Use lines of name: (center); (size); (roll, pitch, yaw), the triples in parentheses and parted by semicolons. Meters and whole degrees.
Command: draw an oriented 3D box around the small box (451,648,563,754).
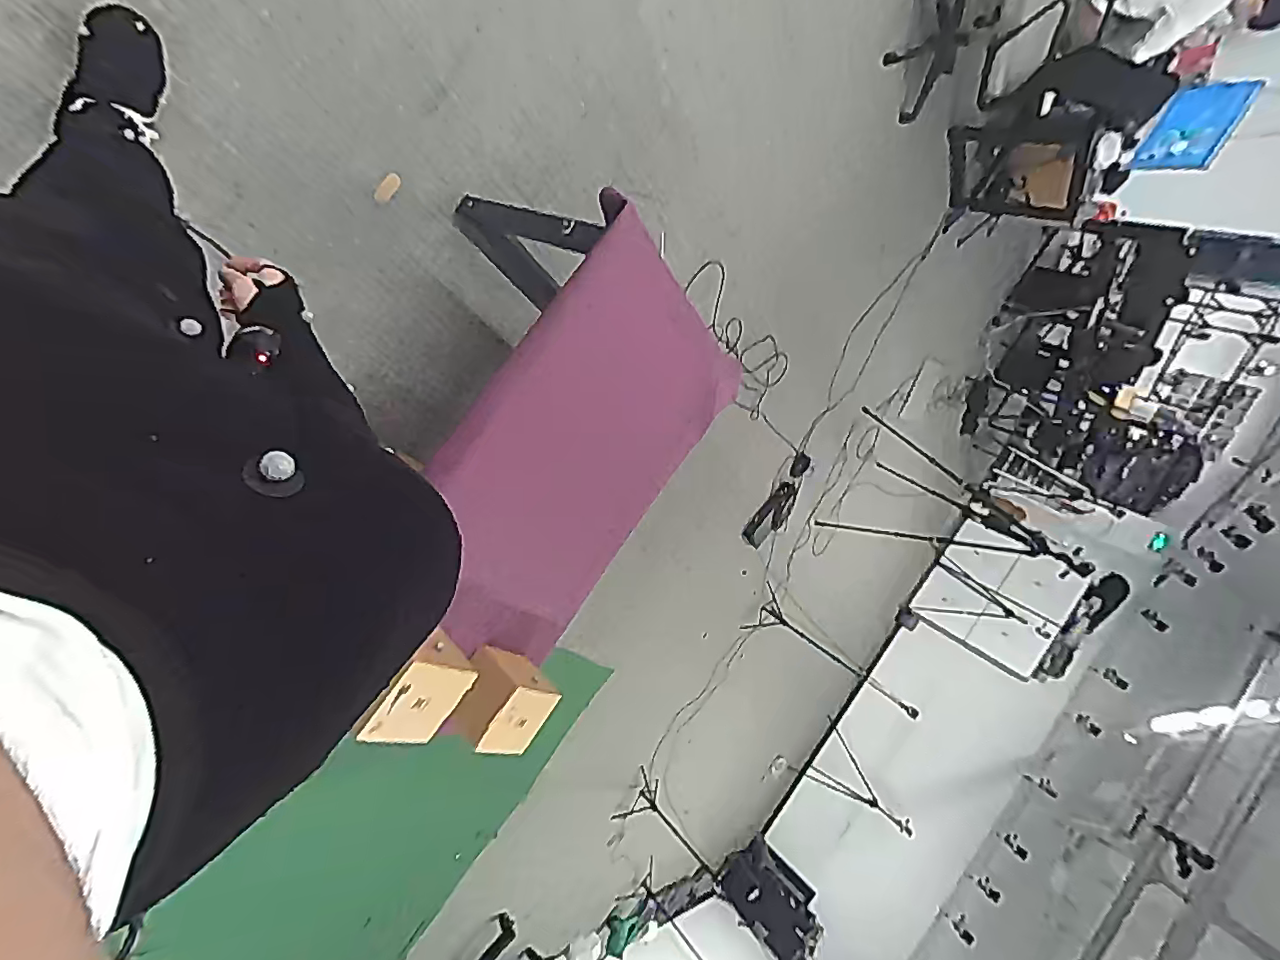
small box: (-0.328, 0.530, 1.303); (0.168, 0.176, 0.179); (-55, 141, -7)

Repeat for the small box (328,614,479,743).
small box: (-0.461, 0.385, 1.057); (0.168, 0.176, 0.179); (-55, 145, -7)
